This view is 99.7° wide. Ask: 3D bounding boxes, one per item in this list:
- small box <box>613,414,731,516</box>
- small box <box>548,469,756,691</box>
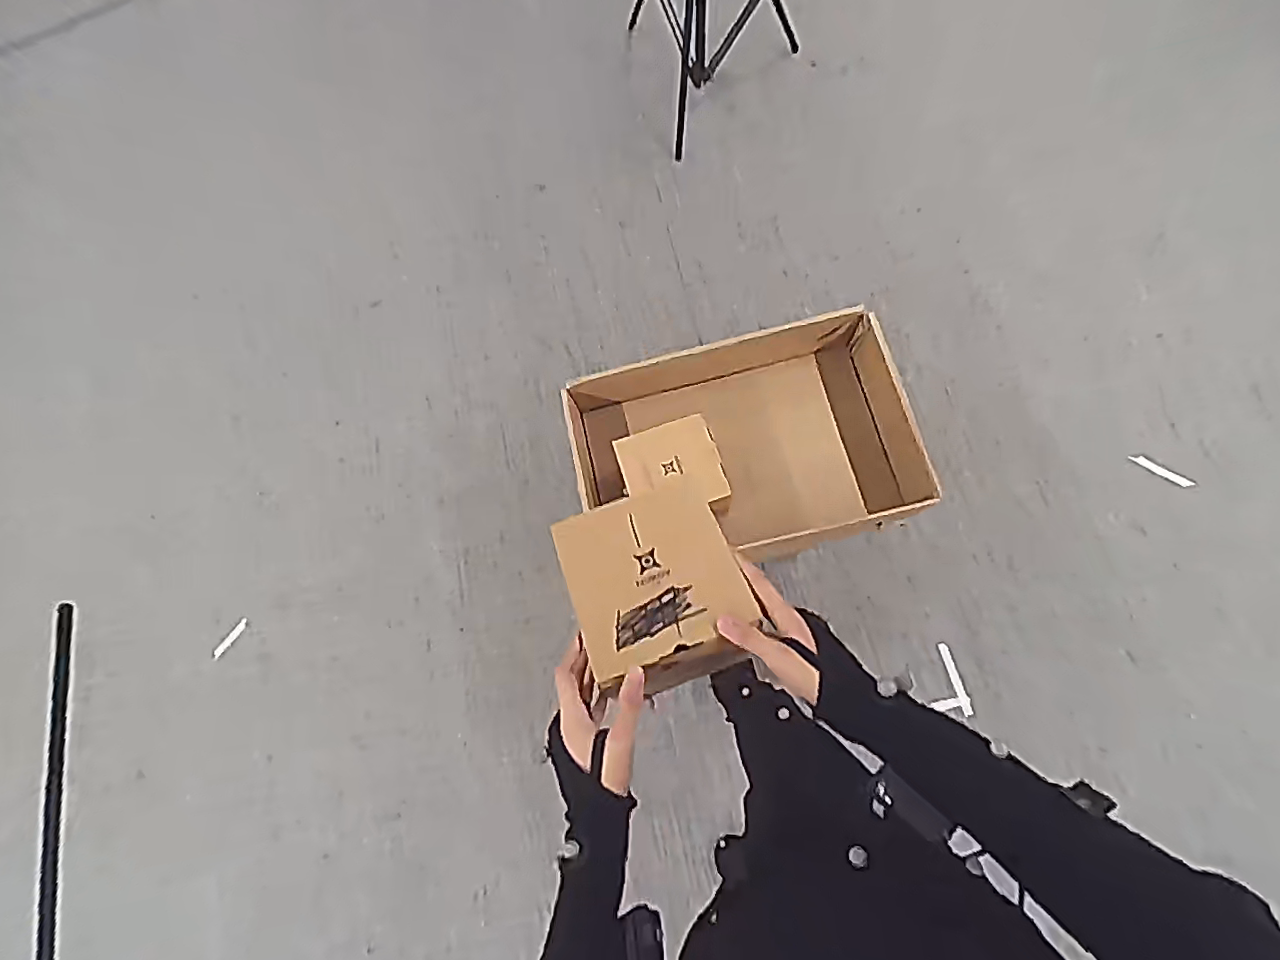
[{"bbox_3d":[0.062,-0.002,1.033,0.179,0.176,0.168,-18,74,2],"label":"small box"},{"bbox_3d":[0.016,0.122,0.604,0.168,0.176,0.179,-21,61,-4],"label":"small box"}]
